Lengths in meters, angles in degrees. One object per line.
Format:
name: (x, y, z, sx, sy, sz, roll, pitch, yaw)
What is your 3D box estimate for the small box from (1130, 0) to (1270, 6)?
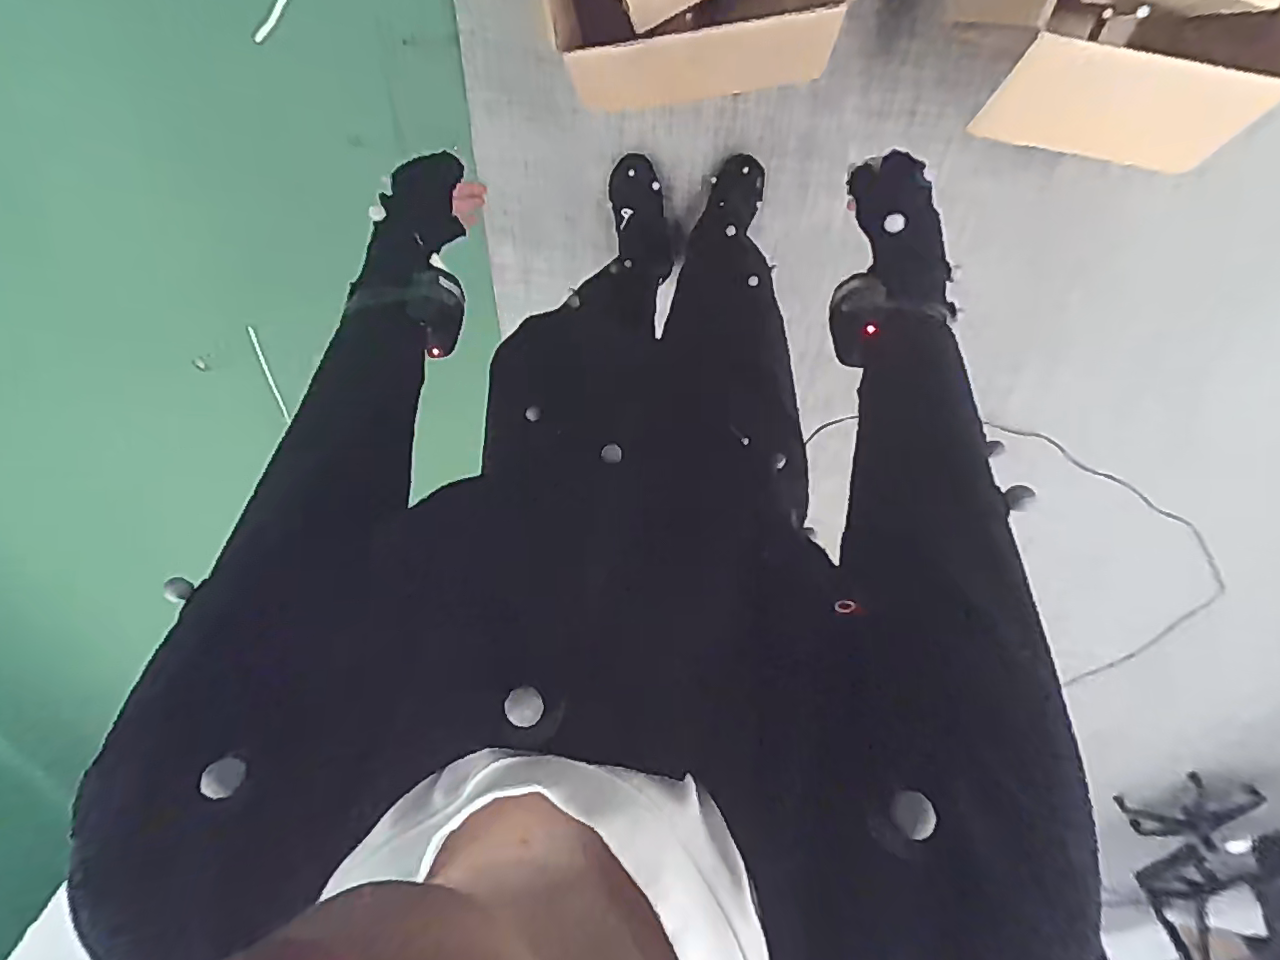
small box: (0.734, -0.732, 0.694, 0.179, 0.176, 0.168, 8, 128, -2)
